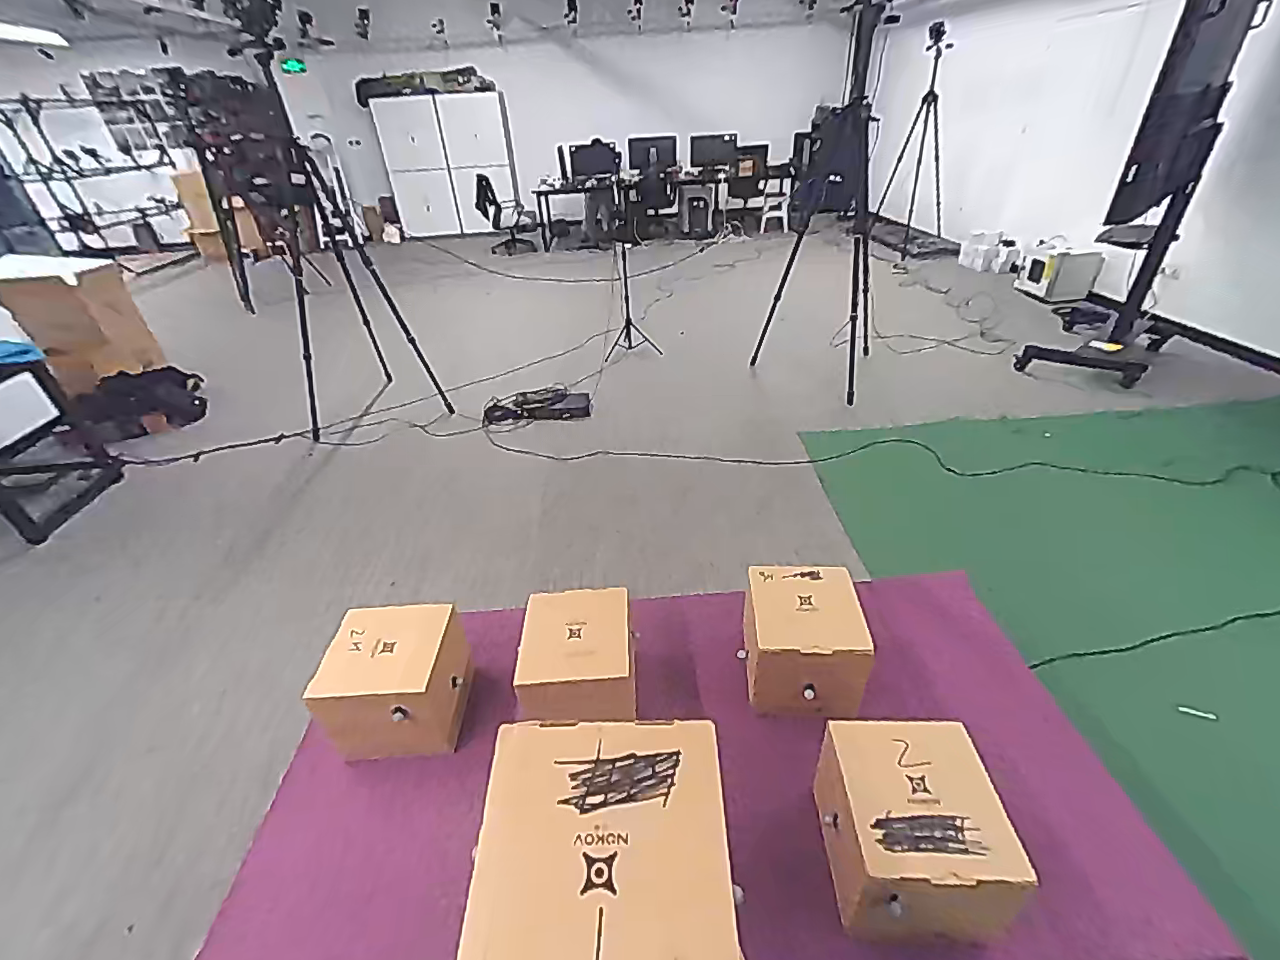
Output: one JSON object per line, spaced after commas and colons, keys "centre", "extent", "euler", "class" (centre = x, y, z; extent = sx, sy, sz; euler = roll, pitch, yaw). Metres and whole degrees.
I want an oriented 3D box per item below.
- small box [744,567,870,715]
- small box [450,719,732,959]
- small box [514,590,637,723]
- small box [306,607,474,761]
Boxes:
{"centre": [0.261, 0.263, 0.887], "extent": [0.168, 0.176, 0.179], "euler": [-1, 35, 6], "class": "small box"}
{"centre": [-0.027, 0.302, 0.402], "extent": [0.168, 0.176, 0.179], "euler": [-2, 42, 1], "class": "small box"}
{"centre": [-0.095, 0.302, 0.876], "extent": [0.168, 0.176, 0.179], "euler": [-5, 35, 1], "class": "small box"}
{"centre": [-0.381, 0.327, 0.869], "extent": [0.179, 0.176, 0.168], "euler": [-4, 34, 1], "class": "small box"}
